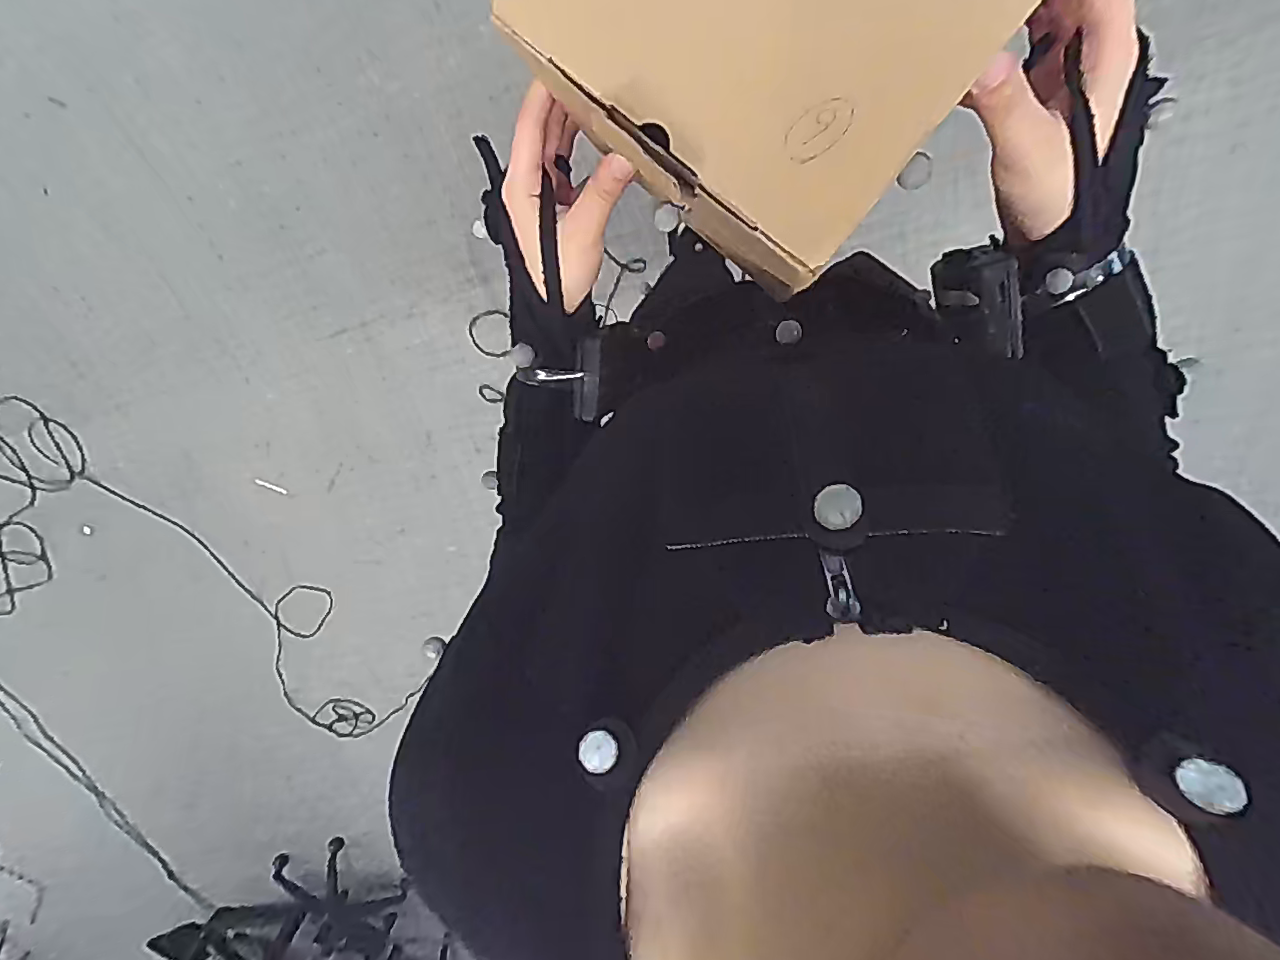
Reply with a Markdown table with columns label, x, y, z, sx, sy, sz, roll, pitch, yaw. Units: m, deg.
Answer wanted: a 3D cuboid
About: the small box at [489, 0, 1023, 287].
| label | x | y | z | sx | sy | sz | roll | pitch | yaw |
| --- | --- | --- | --- | --- | --- | --- | --- | --- | --- |
| small box | 0.067 | -0.215 | 0.266 | 0.168 | 0.176 | 0.179 | 38 | 110 | -1 |
